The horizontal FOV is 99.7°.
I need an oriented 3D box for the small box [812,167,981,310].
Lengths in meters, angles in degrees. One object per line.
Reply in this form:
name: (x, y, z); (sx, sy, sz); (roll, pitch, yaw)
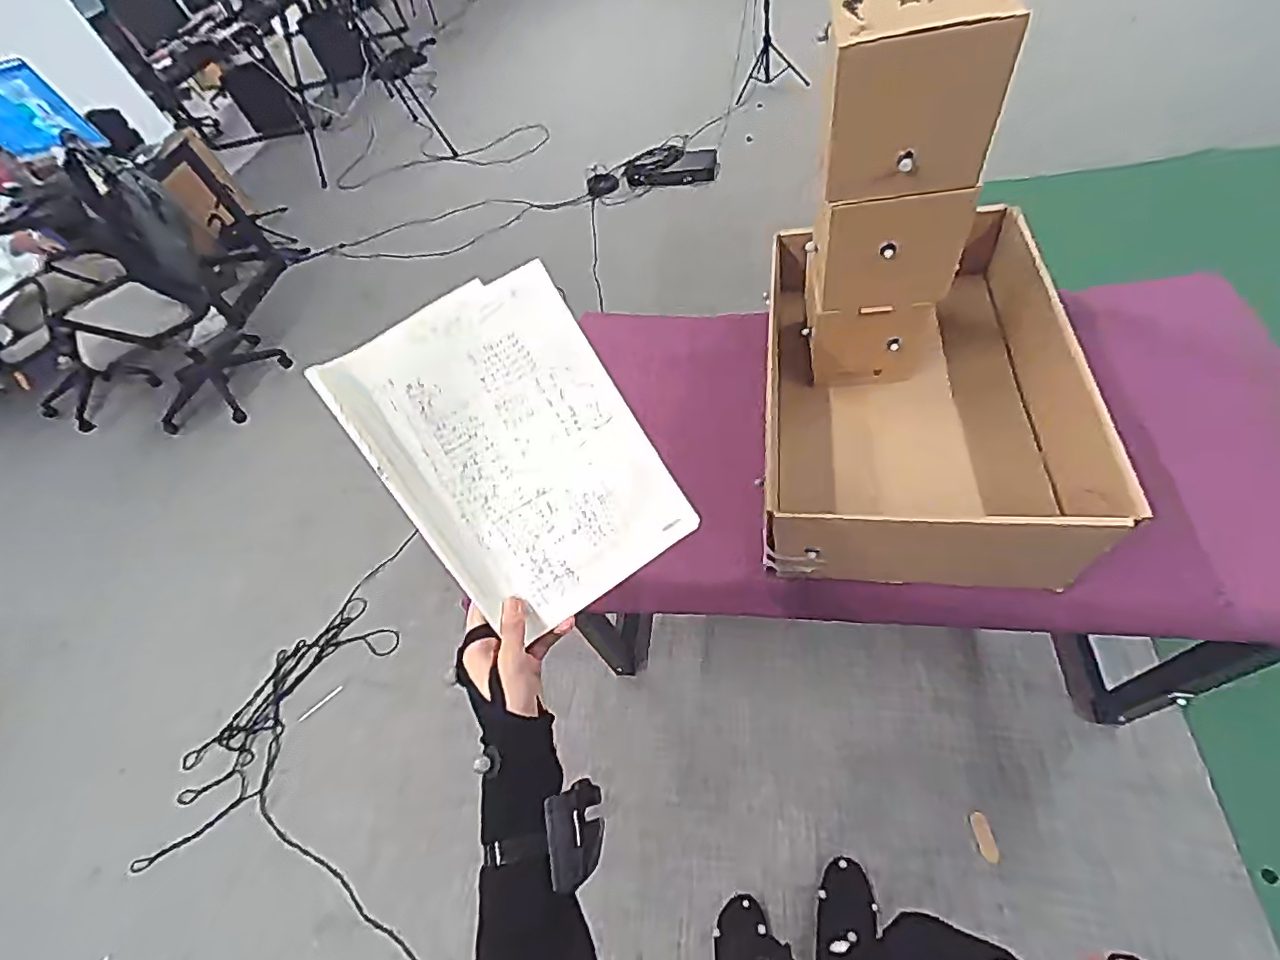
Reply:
small box: (0.347, -0.366, 0.770); (0.179, 0.176, 0.168); (-2, 56, 13)

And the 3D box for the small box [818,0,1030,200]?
small box: (0.313, -0.460, 0.640); (0.179, 0.176, 0.168); (1, 56, 13)
